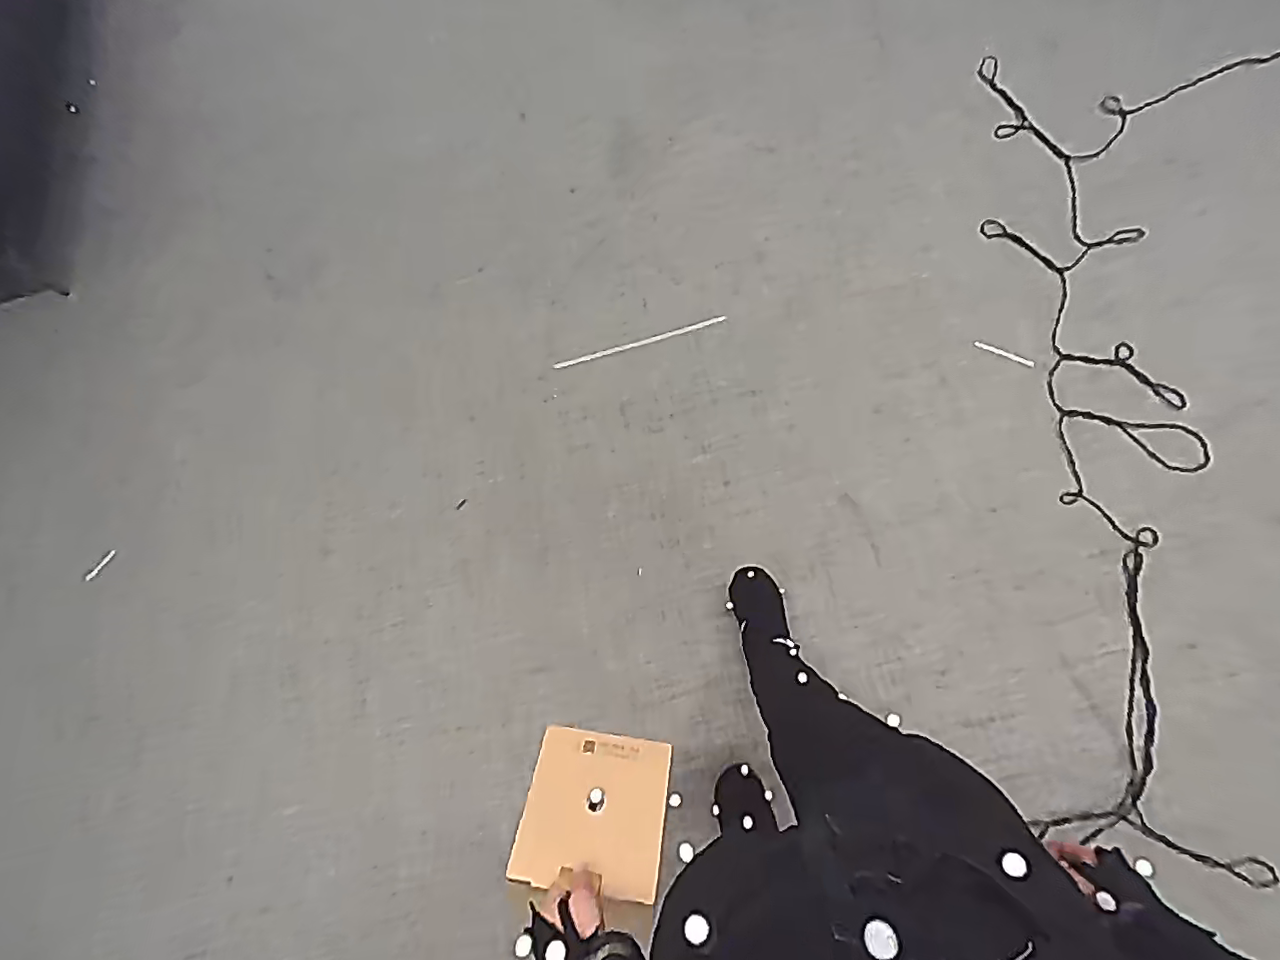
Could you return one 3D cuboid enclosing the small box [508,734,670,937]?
[{"bbox_3d":[-0.052,0.446,0.687,0.168,0.179,0.176,5,42,7],"label":"small box"}]
